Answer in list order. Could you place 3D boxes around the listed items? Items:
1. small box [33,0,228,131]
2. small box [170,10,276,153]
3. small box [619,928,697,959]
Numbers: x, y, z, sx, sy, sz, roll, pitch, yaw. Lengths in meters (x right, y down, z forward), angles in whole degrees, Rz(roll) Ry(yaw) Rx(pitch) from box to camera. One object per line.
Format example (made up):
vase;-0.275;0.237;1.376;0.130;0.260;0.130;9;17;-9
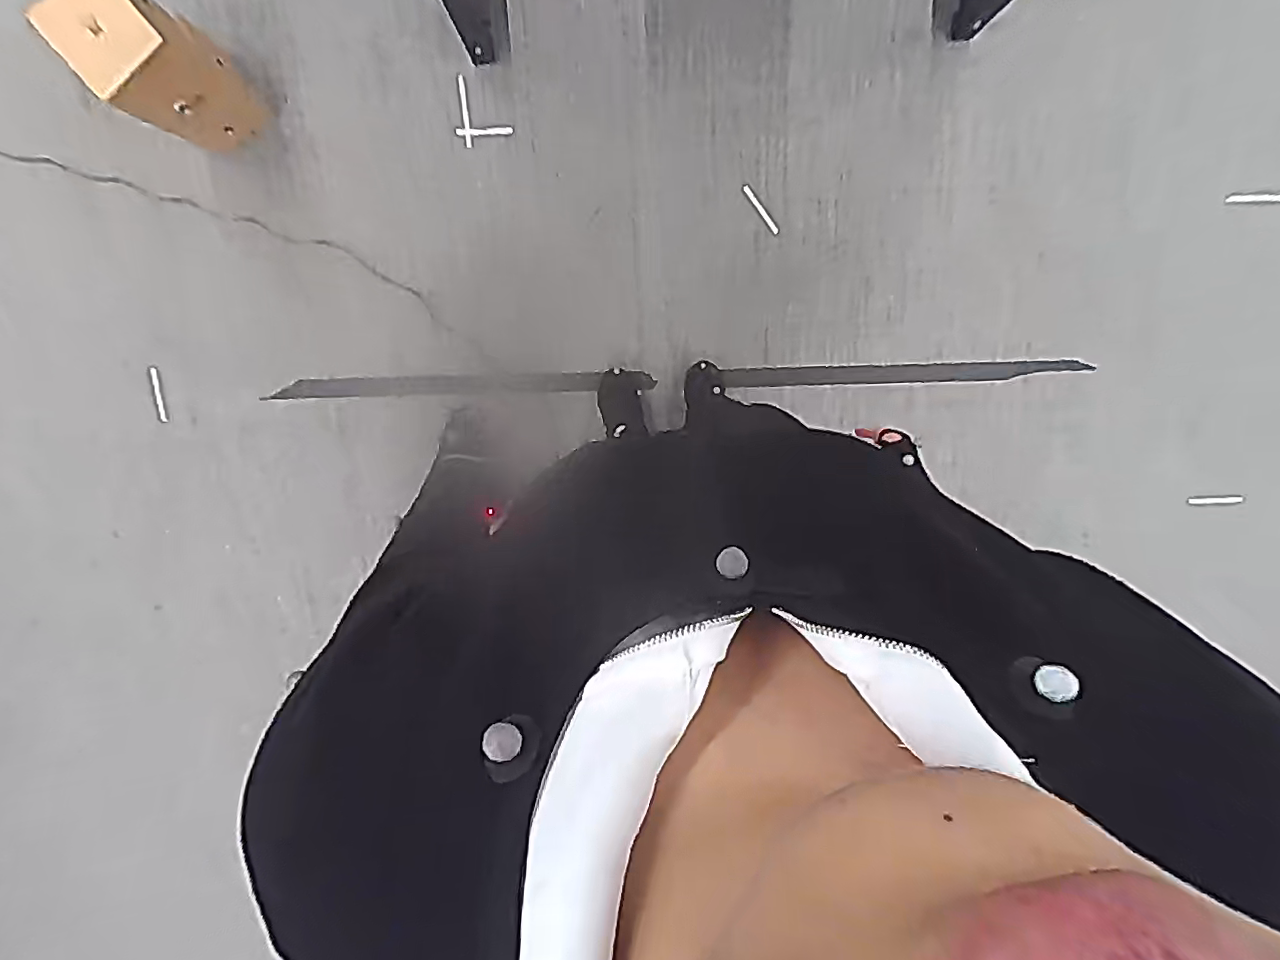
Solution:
small box;-0.970;-0.830;1.047;0.168;0.176;0.179;-39;102;8
small box;-0.972;-0.868;1.206;0.168;0.176;0.179;-34;101;5
small box;0.046;1.138;1.185;0.179;0.176;0.168;-11;99;2
